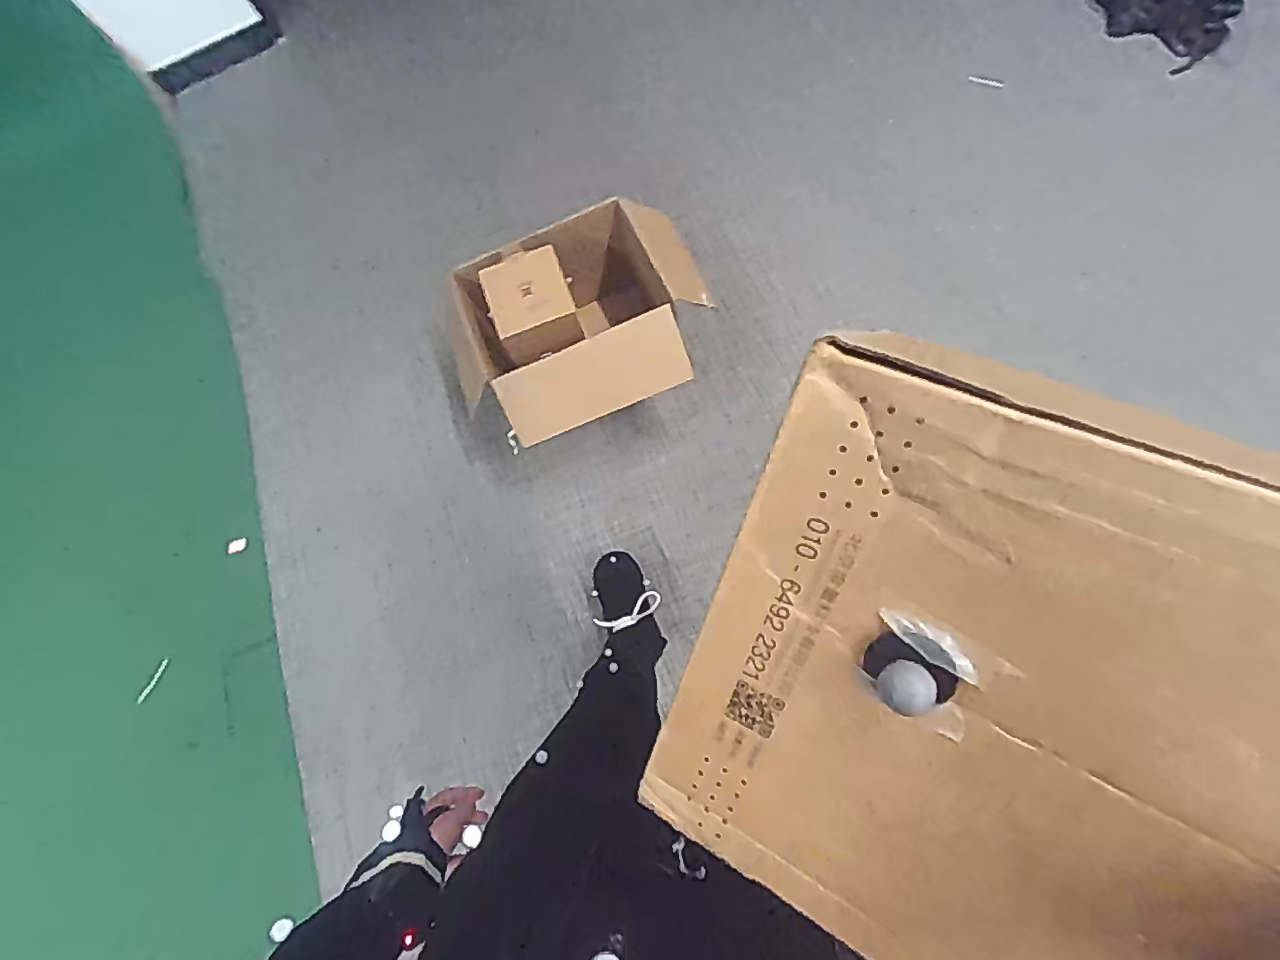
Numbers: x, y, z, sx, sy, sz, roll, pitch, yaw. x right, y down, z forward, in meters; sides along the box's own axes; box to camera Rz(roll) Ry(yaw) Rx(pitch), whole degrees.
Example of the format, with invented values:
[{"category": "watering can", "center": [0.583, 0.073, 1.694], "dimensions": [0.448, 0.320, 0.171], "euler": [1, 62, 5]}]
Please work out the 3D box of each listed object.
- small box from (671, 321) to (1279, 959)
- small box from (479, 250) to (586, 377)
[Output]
[{"category": "small box", "center": [0.137, 0.046, 0.207], "dimensions": [0.176, 0.179, 0.168], "euler": [27, 114, 21]}, {"category": "small box", "center": [-0.228, -0.357, 1.182], "dimensions": [0.168, 0.176, 0.179], "euler": [-20, 74, -1]}]
